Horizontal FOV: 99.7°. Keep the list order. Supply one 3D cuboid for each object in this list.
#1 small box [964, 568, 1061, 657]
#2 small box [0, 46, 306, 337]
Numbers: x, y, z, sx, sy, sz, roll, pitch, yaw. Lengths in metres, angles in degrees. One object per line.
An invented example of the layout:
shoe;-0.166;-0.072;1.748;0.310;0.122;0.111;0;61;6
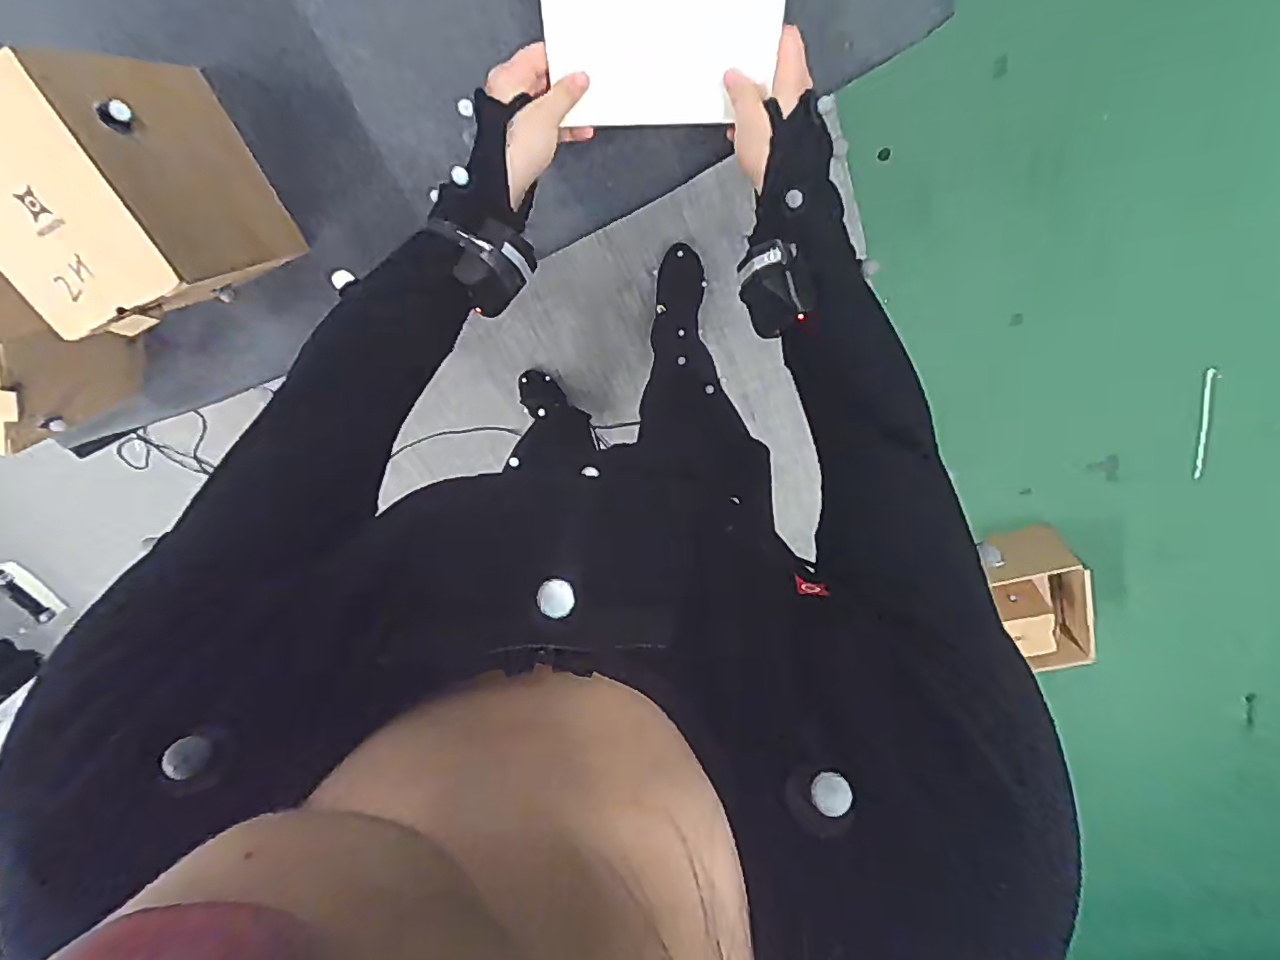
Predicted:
small box;1.055;0.374;1.538;0.179;0.176;0.168;-17;121;20
small box;-0.476;-0.264;0.513;0.168;0.176;0.179;-13;120;18
